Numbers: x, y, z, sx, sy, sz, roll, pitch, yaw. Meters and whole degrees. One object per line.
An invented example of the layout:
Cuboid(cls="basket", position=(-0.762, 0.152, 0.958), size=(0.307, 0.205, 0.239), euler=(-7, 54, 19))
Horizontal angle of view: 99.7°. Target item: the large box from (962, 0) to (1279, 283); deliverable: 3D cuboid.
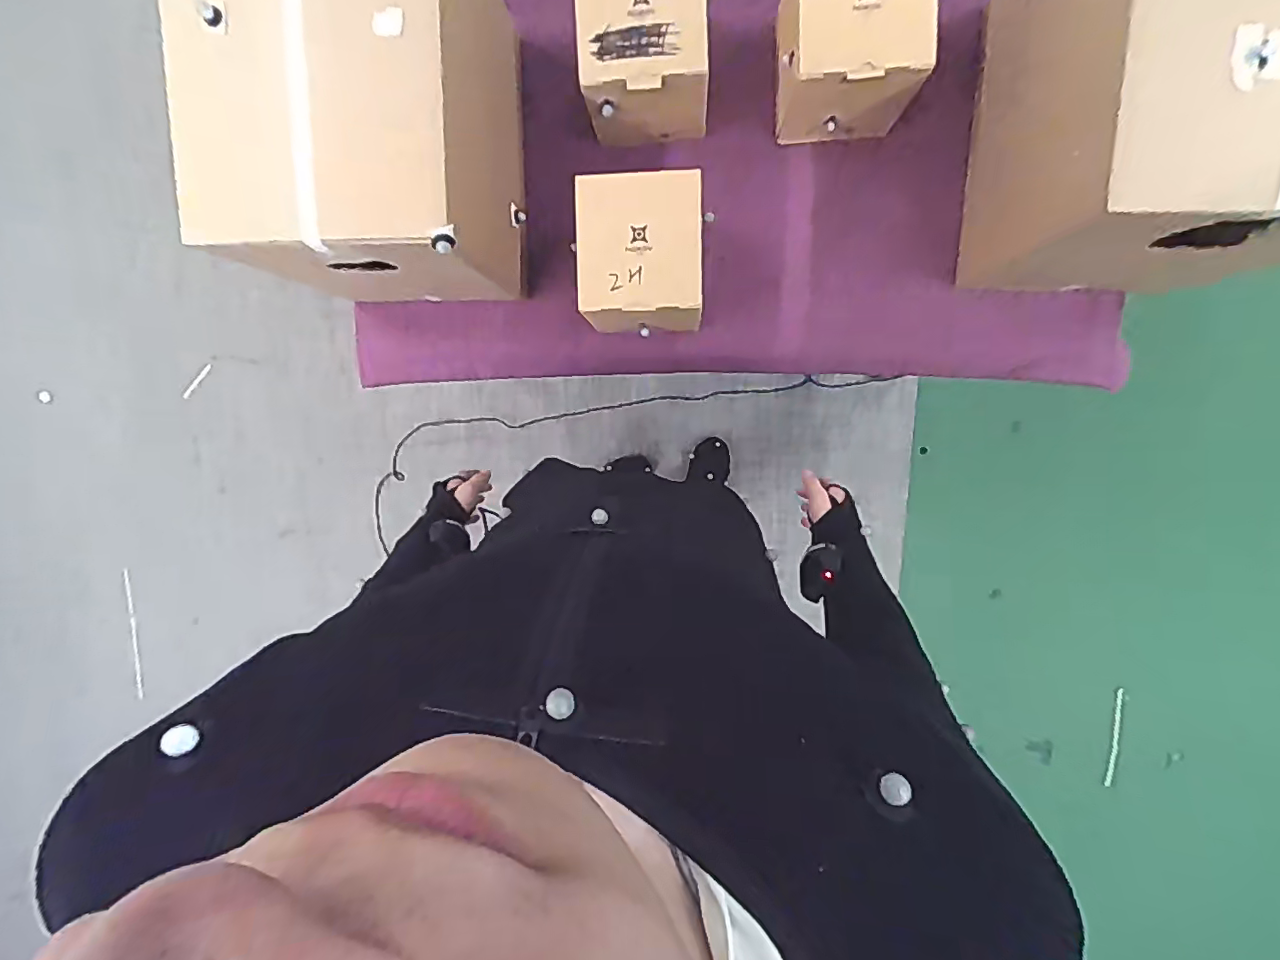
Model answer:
Cuboid(cls="large box", position=(0.629, -0.476, 0.646), size=(0.320, 0.320, 0.408), euler=(2, 98, 5))
